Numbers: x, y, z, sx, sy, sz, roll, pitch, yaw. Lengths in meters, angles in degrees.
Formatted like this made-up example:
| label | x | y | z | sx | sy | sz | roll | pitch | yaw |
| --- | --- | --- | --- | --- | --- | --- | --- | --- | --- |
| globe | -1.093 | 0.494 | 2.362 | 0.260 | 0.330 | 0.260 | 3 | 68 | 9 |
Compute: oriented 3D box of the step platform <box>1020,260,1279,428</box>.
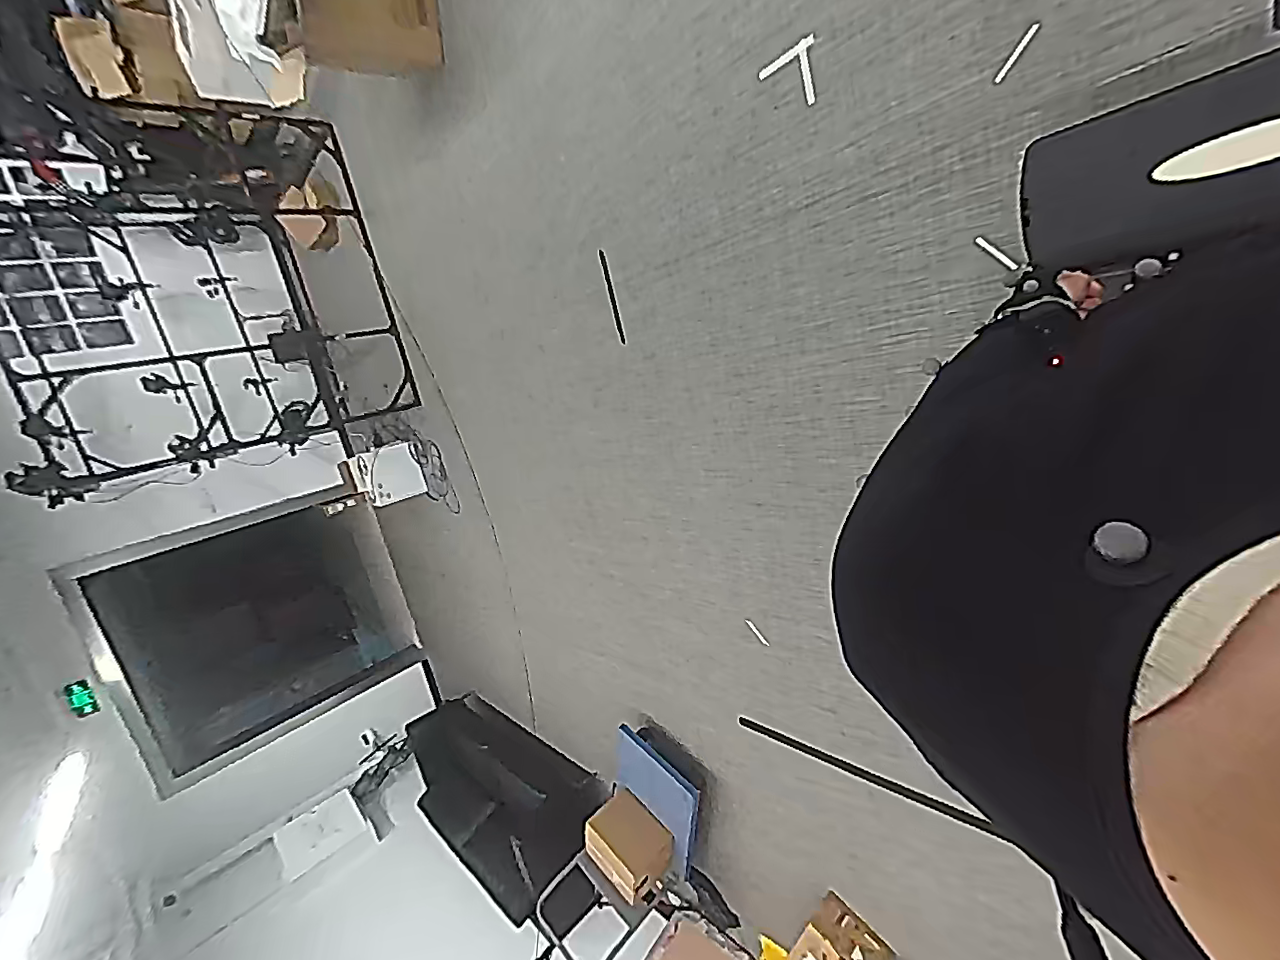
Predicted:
| label | x | y | z | sx | sy | sz | roll | pitch | yaw |
| --- | --- | --- | --- | --- | --- | --- | --- | --- | --- |
| step platform | 1.105 | -0.246 | 0.976 | 0.684 | 0.204 | 0.286 | 8 | 112 | 49 |
